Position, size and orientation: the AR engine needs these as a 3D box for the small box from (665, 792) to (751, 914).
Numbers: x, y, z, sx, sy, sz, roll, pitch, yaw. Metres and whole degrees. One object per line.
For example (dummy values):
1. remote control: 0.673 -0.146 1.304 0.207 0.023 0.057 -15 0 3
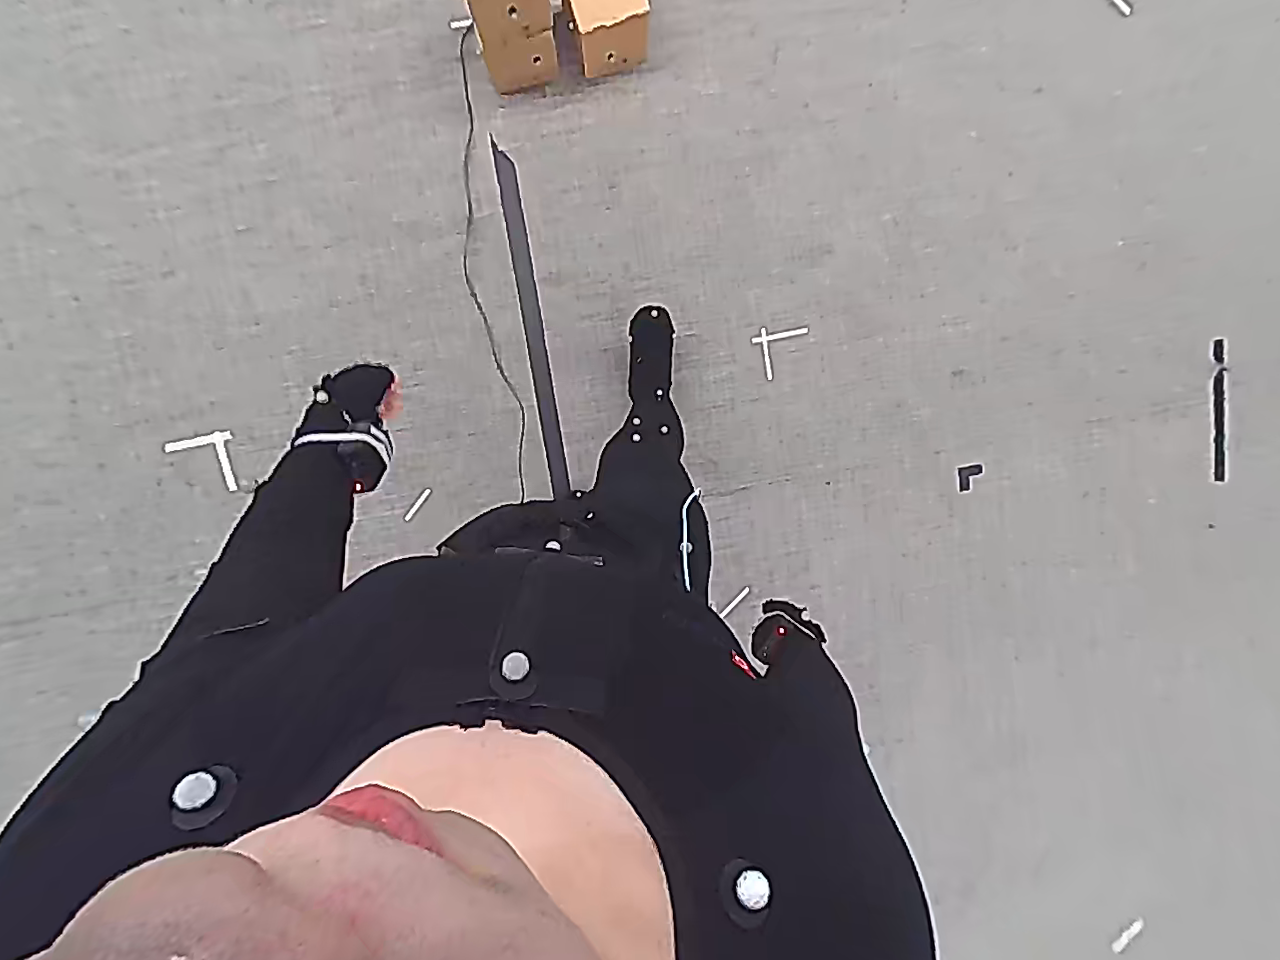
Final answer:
1. small box: 0.159 0.893 1.315 0.168 0.176 0.179 -11 98 0

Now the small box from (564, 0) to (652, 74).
1. small box: -0.080 -1.104 1.257 0.168 0.176 0.179 -18 98 0

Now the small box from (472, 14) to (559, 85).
1. small box: -0.293 -1.059 1.254 0.168 0.176 0.179 -15 97 -1

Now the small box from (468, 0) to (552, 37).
1. small box: -0.286 -1.046 1.090 0.168 0.176 0.179 -19 98 -1
